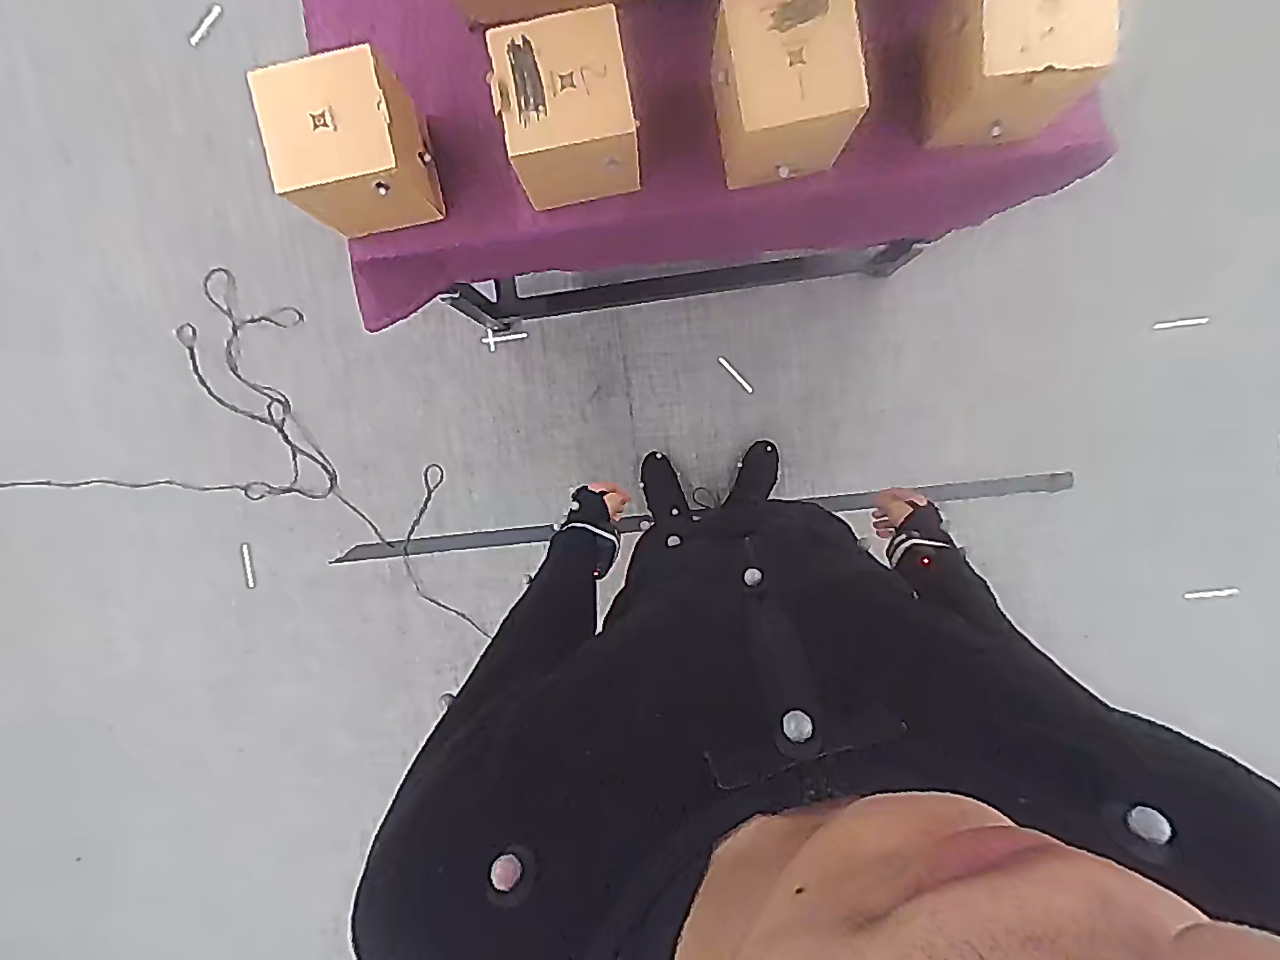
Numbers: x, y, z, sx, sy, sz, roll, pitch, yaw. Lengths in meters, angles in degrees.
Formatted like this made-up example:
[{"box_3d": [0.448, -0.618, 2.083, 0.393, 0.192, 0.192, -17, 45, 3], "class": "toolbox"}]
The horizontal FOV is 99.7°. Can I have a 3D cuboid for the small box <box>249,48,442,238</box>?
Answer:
[{"box_3d": [-0.423, -0.484, 0.805, 0.179, 0.176, 0.168, -12, 93, 2], "class": "small box"}]

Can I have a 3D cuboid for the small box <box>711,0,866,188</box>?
[{"box_3d": [0.200, -0.556, 0.773, 0.168, 0.176, 0.179, -10, 94, 4], "class": "small box"}]
